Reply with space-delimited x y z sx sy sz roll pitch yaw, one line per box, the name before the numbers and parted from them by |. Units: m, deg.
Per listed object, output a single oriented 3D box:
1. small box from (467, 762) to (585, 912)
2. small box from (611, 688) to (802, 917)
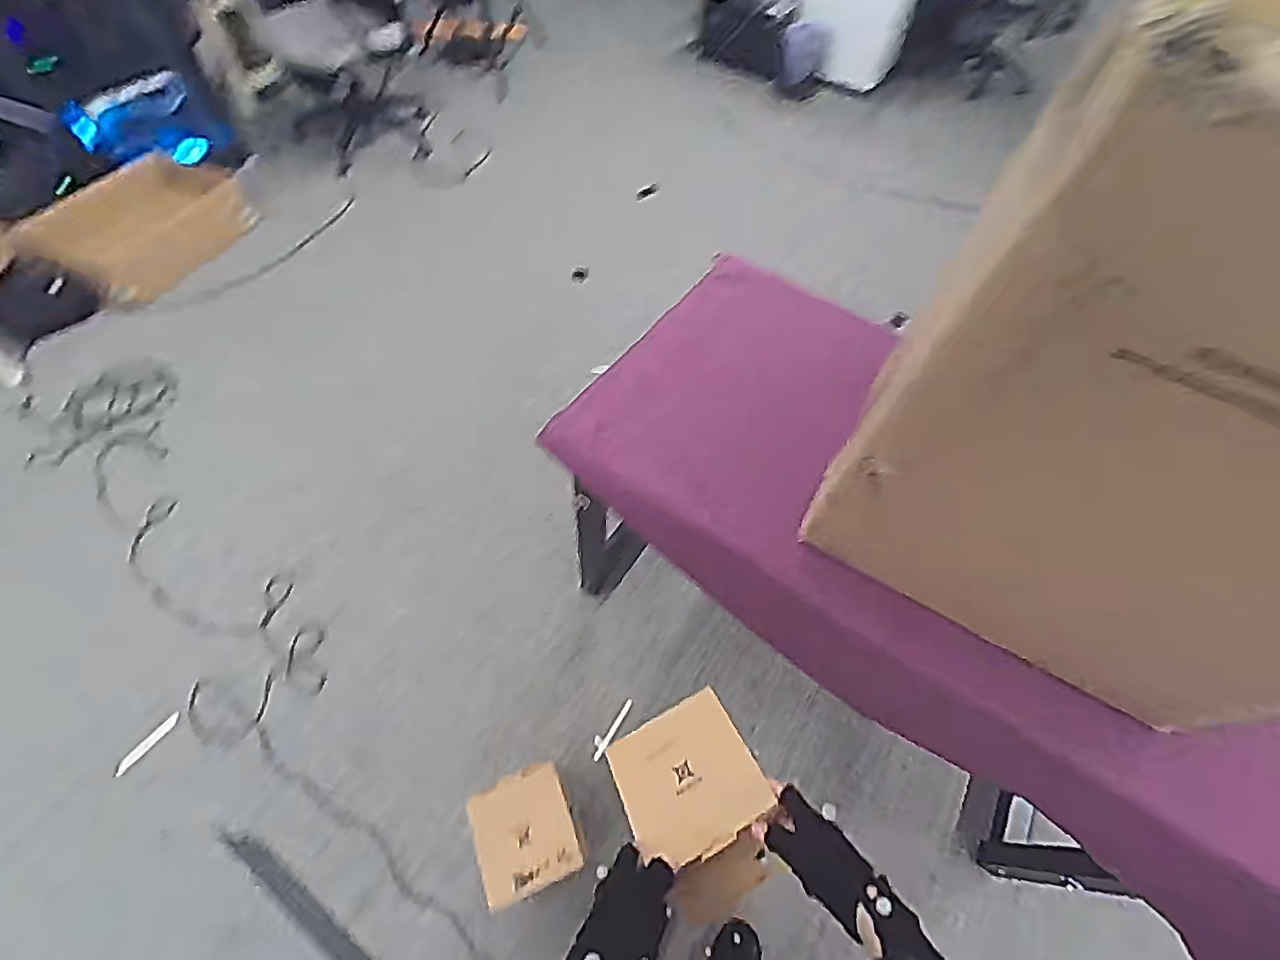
small box | -0.207 0.656 1.004 0.168 0.176 0.179 -19 61 -15
small box | 0.086 0.415 0.693 0.168 0.176 0.179 -26 33 -7
